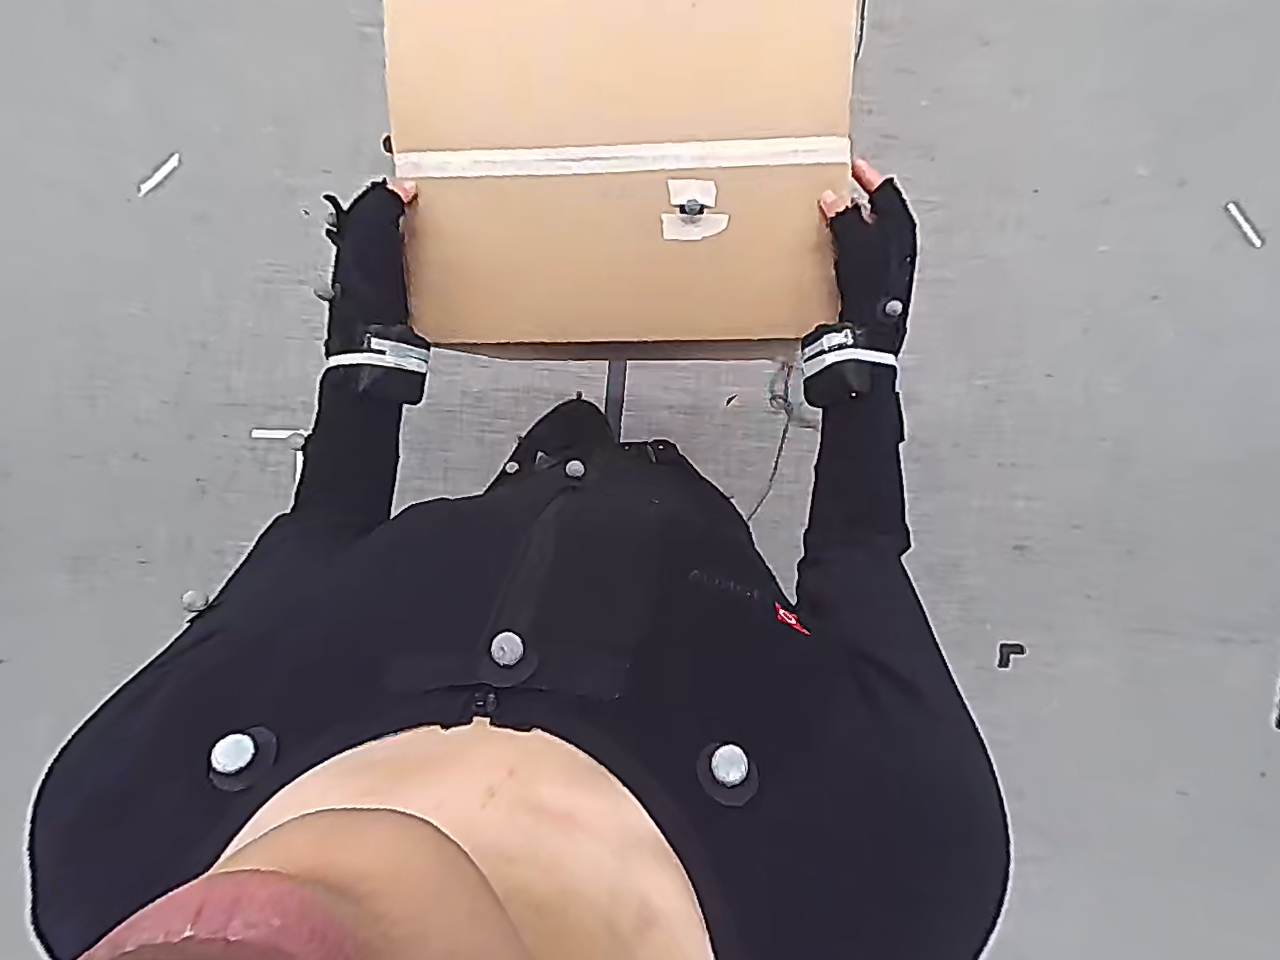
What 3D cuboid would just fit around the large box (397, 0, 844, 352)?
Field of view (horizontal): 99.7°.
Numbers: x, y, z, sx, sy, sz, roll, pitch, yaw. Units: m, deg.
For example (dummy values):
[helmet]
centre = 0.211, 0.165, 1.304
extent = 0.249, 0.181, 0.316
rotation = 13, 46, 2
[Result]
[large box]
centre = -0.013, -0.326, 0.645
extent = 0.408, 0.320, 0.320
rotation = -1, 100, 2
